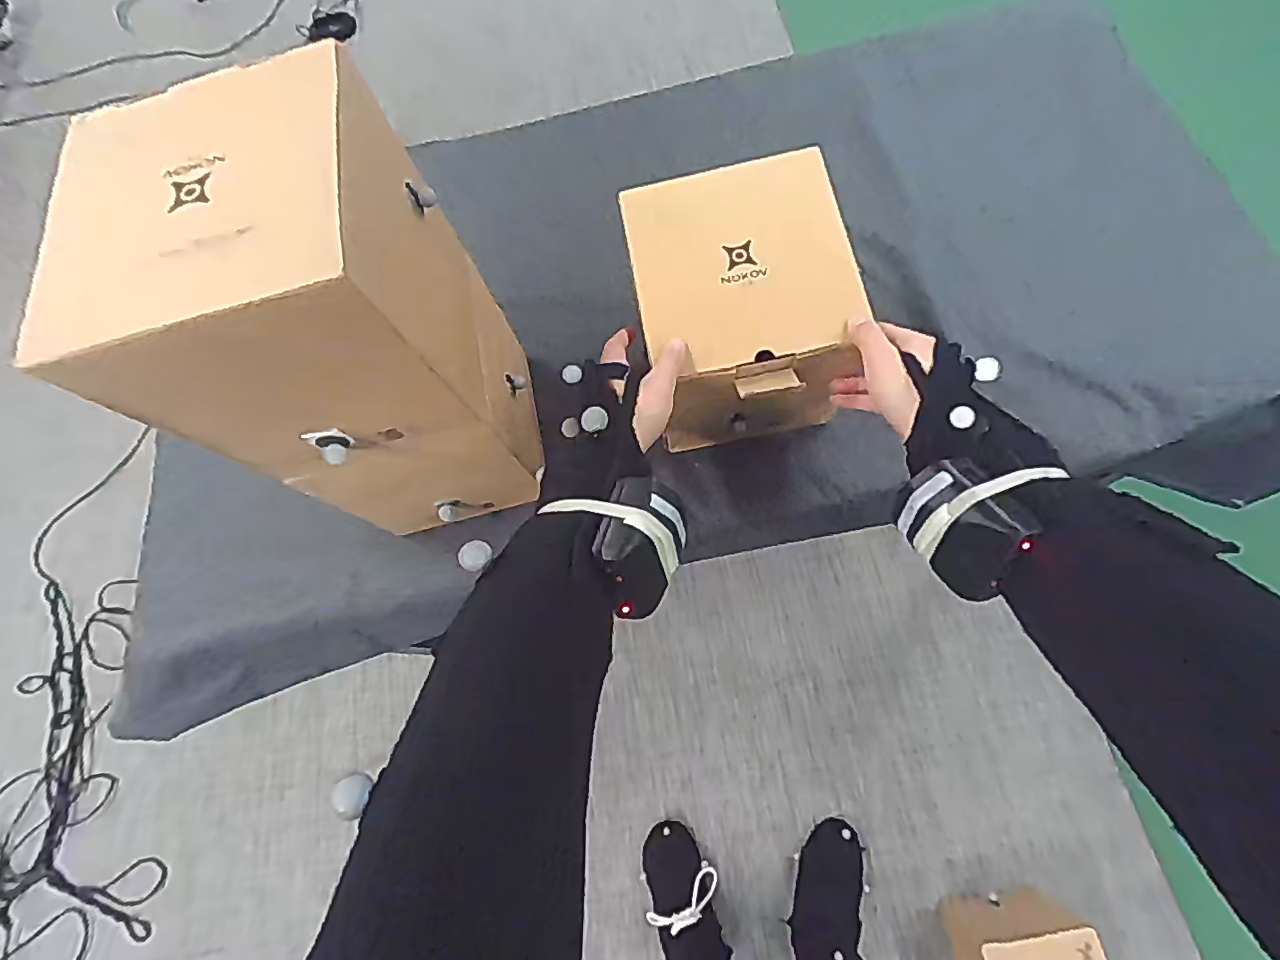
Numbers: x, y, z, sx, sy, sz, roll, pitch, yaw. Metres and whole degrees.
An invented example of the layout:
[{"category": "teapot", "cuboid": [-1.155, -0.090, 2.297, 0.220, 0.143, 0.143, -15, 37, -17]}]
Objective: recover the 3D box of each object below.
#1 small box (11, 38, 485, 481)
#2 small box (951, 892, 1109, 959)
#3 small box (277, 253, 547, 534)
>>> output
[{"category": "small box", "cuboid": [-0.217, -0.121, 0.348, 0.168, 0.176, 0.179, -15, 70, 3]}, {"category": "small box", "cuboid": [0.628, 0.793, 0.862, 0.179, 0.176, 0.168, -13, 69, 4]}, {"category": "small box", "cuboid": [-0.197, -0.067, 0.500, 0.168, 0.176, 0.179, -15, 70, 2]}]
